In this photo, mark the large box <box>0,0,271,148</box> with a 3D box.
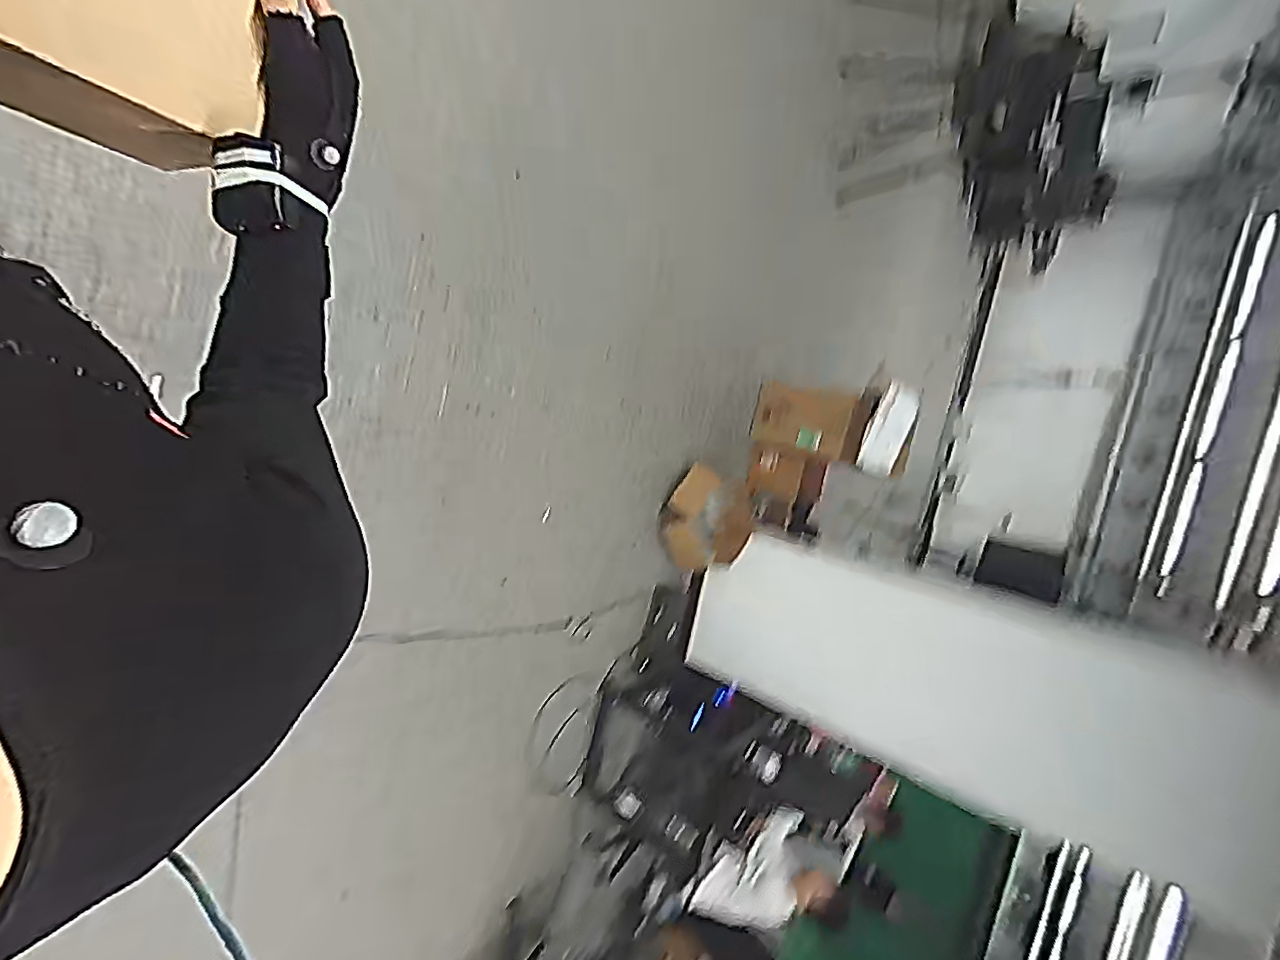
[{"bbox_3d":[-0.517,-0.478,0.351,0.408,0.320,0.320,3,107,-54],"label":"large box"}]
